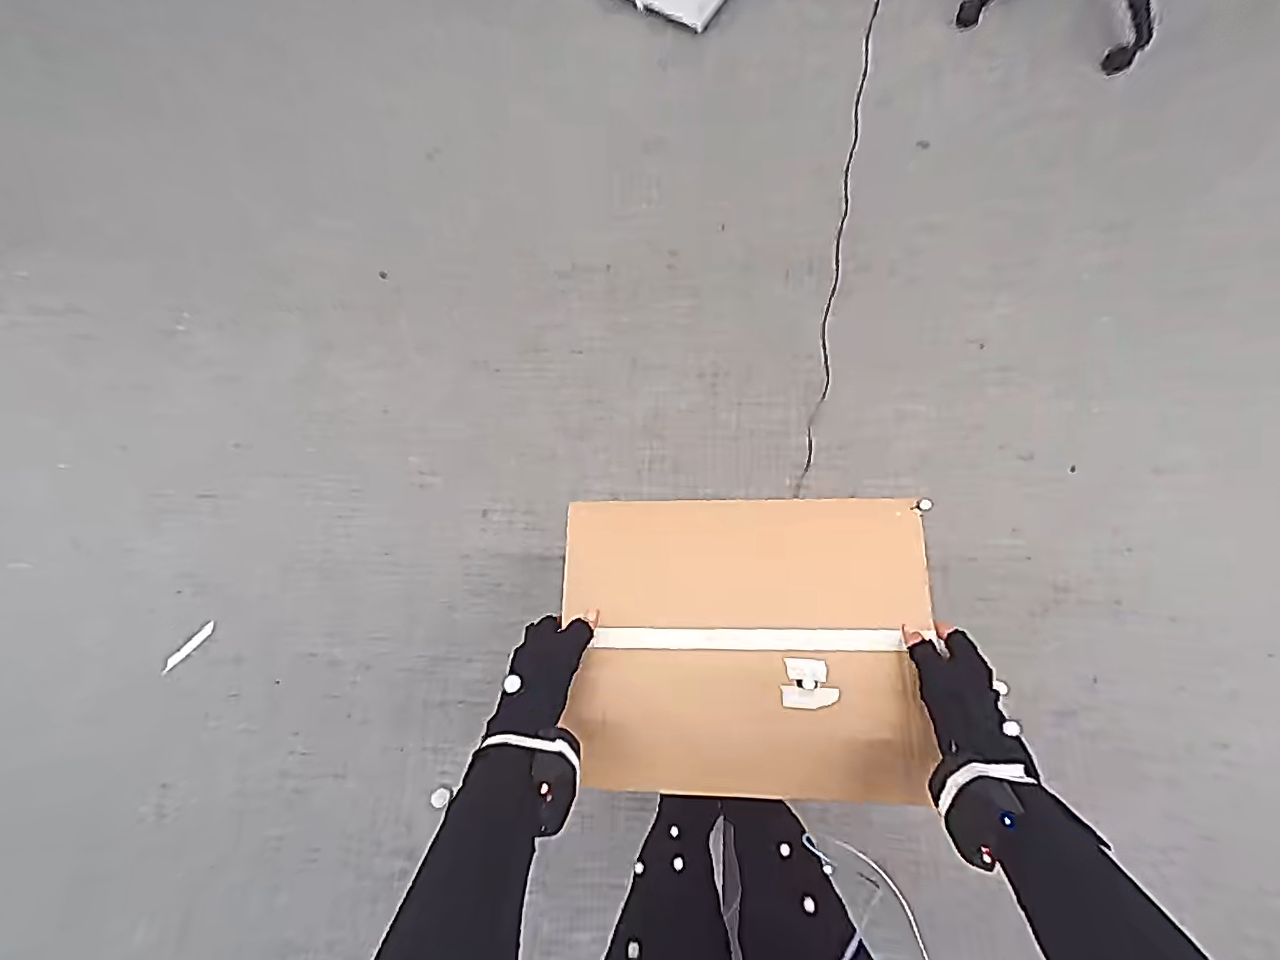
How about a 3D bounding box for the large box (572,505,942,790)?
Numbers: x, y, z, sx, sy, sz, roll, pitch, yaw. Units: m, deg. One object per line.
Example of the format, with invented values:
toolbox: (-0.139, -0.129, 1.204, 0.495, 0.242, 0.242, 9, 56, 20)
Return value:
large box: (0.132, 0.225, 0.764, 0.408, 0.320, 0.320, -1, 74, 6)
